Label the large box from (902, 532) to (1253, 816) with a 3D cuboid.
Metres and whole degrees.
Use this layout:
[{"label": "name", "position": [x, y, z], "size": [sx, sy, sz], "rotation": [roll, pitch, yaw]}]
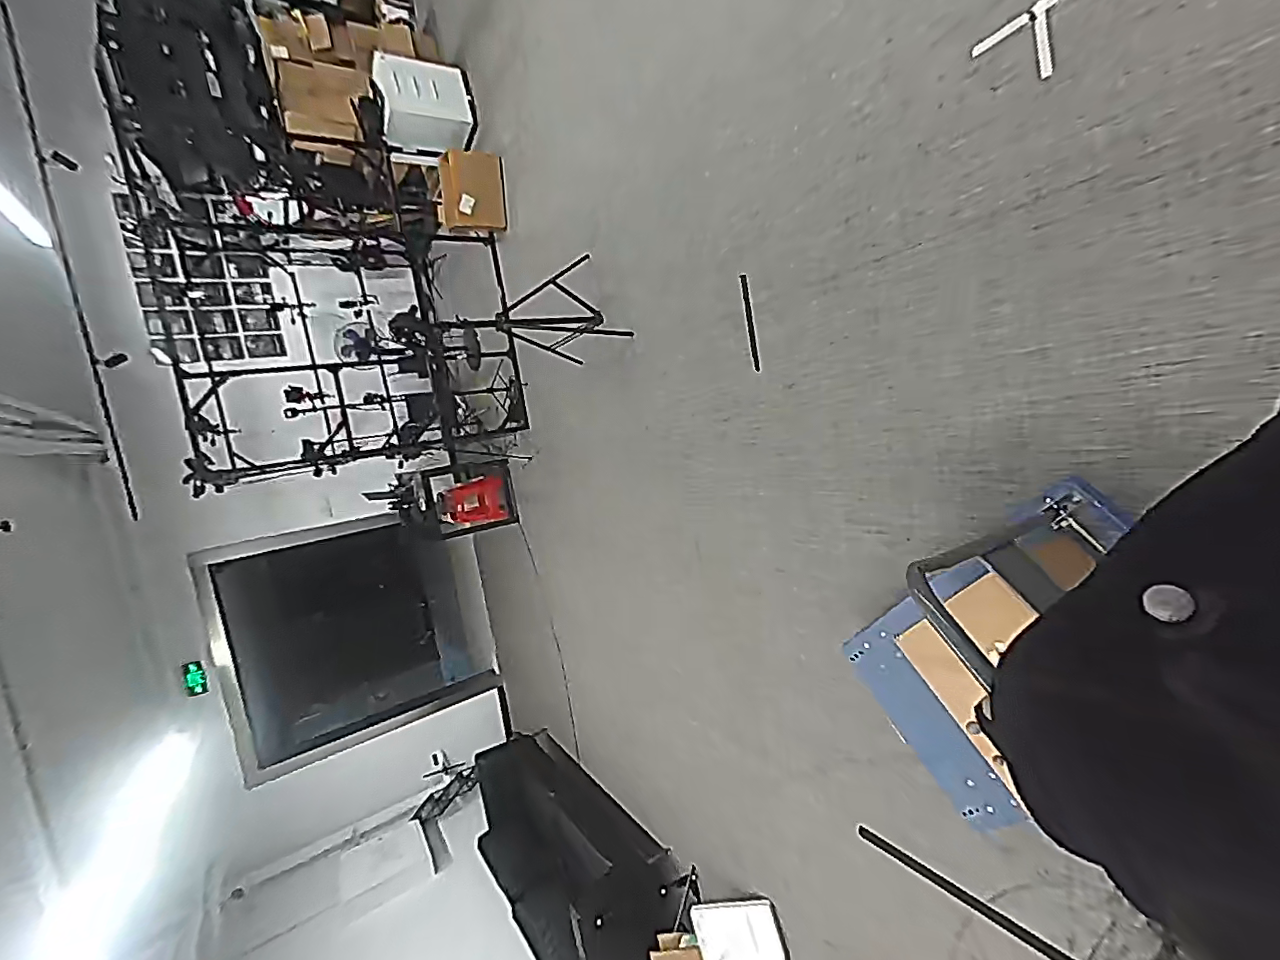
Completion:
[{"label": "large box", "position": [0.854, 0.377, 1.101], "size": [0.408, 0.320, 0.320], "rotation": [59, 144, 29]}]
